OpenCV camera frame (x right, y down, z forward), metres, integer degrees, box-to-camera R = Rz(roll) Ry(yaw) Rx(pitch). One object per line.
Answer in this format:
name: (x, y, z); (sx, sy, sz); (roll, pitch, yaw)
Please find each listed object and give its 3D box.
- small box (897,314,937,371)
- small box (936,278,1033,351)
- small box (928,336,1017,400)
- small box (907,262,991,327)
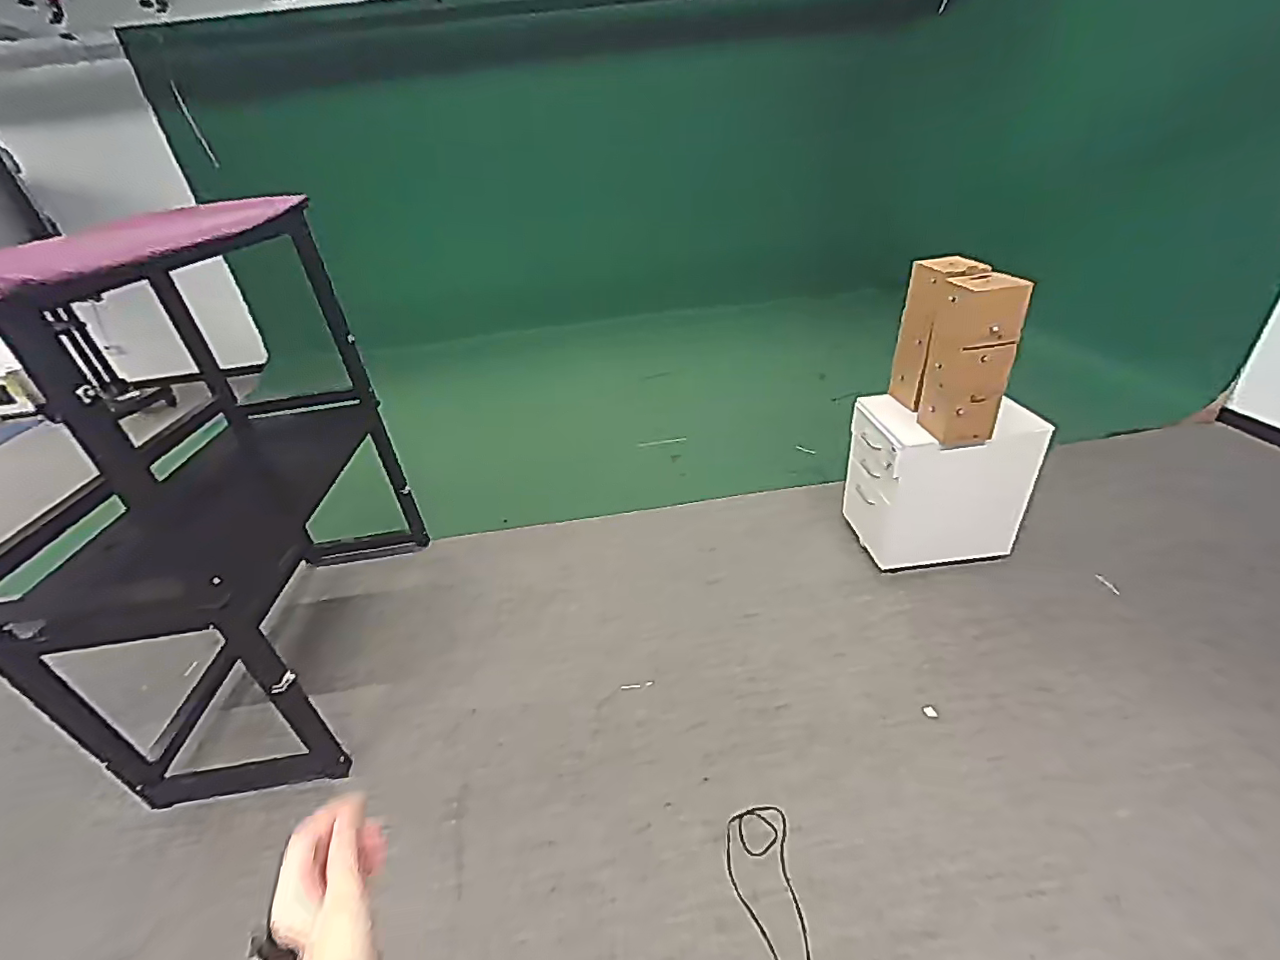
small box: (1.052, -0.495, 1.930); (0.168, 0.176, 0.179); (-9, 33, -6)
small box: (1.024, -0.498, 1.628); (0.168, 0.176, 0.179); (-8, 32, -1)
small box: (1.043, -0.362, 1.718); (0.179, 0.176, 0.168); (-7, 32, -1)
small box: (1.042, -0.631, 1.841); (0.168, 0.176, 0.179); (-9, 34, -6)
